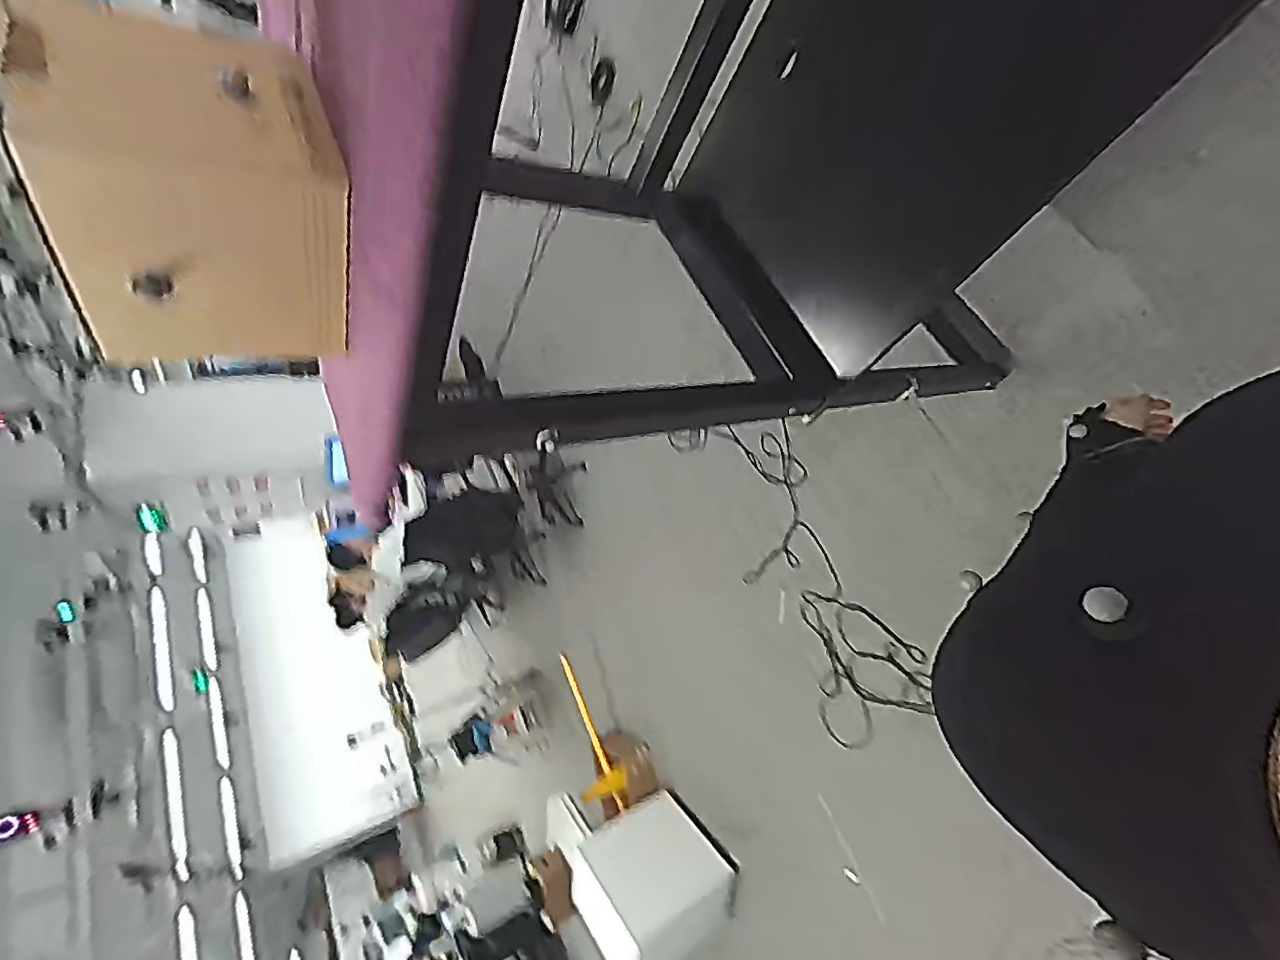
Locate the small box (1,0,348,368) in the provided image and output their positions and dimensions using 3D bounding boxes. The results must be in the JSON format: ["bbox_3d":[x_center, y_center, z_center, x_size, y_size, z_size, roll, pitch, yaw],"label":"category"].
[{"bbox_3d":[-0.337,-0.209,0.424,0.168,0.176,0.179,62,142,22],"label":"small box"}]
